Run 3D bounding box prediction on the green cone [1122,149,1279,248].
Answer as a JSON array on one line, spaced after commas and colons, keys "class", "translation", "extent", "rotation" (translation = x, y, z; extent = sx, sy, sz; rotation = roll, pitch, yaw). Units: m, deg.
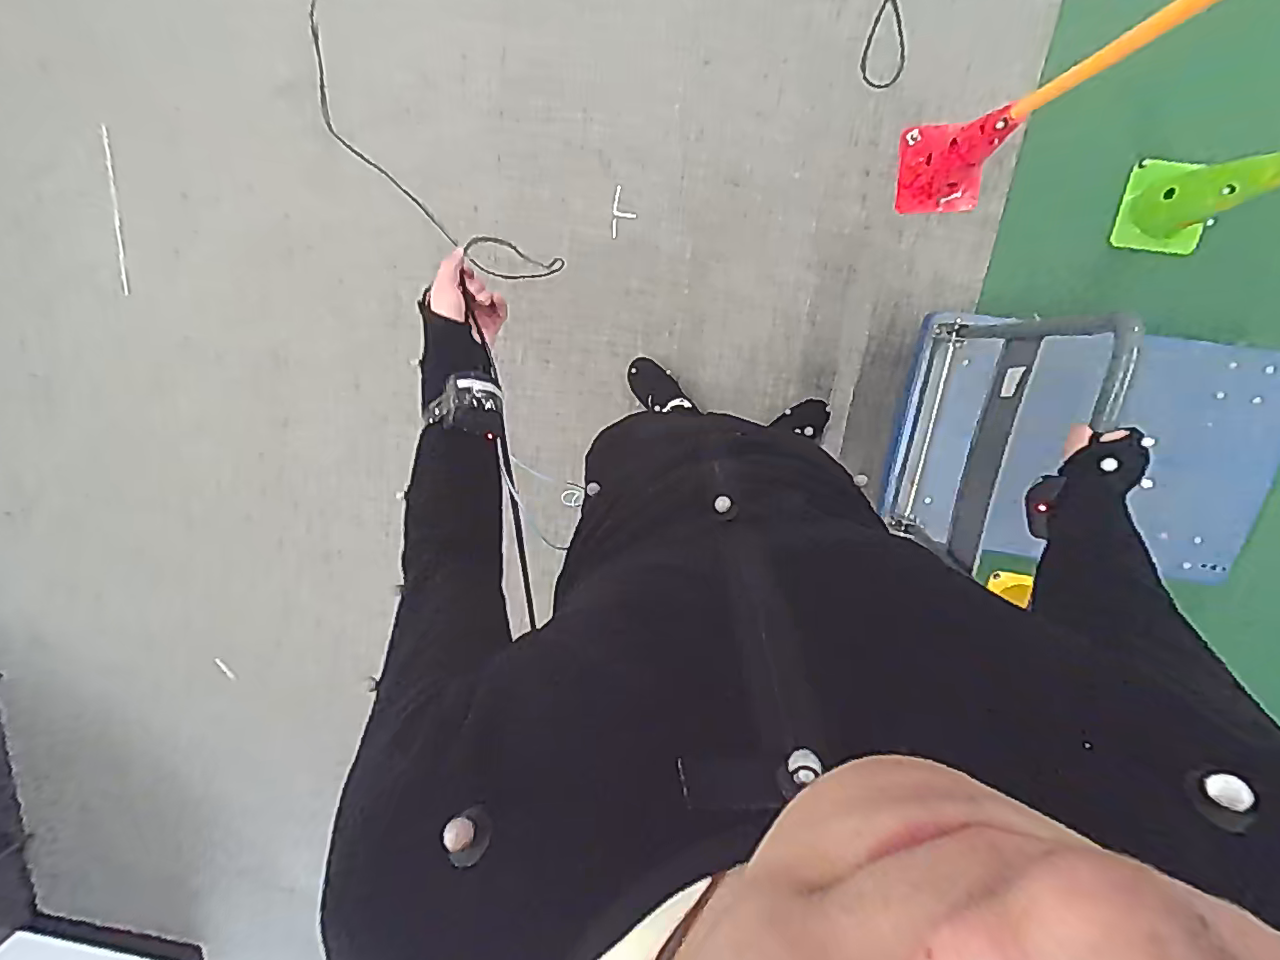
[{"class": "green cone", "translation": [1.270, -0.632, 1.133], "extent": [0.202, 0.368, 0.200], "rotation": [8, 104, 4]}]
